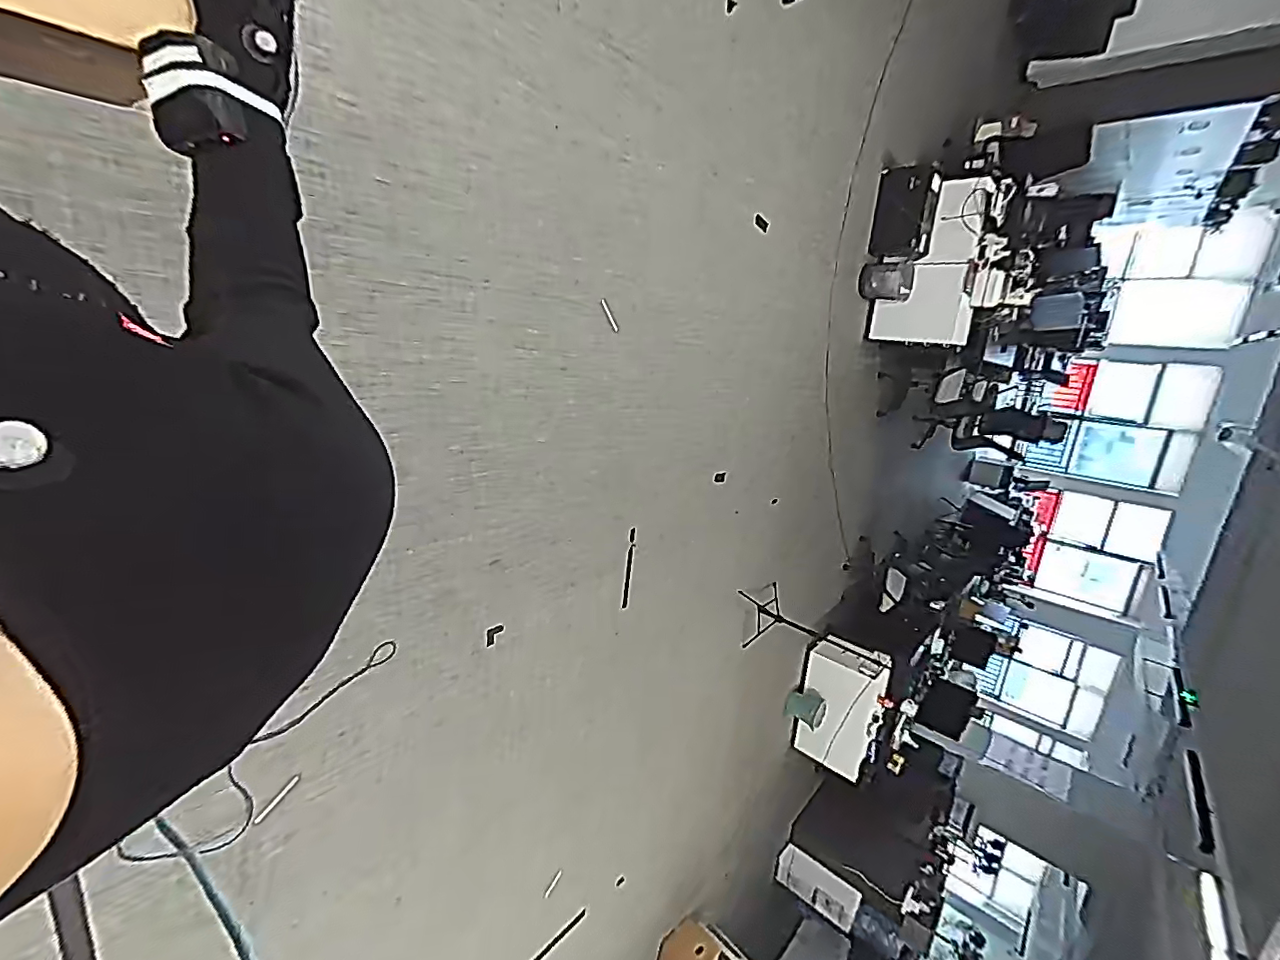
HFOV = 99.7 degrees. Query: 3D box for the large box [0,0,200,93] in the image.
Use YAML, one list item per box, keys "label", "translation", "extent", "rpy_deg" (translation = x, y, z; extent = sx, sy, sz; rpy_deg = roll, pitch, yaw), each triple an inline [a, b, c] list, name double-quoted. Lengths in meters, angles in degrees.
- label: "large box"
  translation: [-0.557, -0.471, 0.300]
  extent: [0.408, 0.320, 0.320]
  rpy_deg: [-16, 122, -48]
